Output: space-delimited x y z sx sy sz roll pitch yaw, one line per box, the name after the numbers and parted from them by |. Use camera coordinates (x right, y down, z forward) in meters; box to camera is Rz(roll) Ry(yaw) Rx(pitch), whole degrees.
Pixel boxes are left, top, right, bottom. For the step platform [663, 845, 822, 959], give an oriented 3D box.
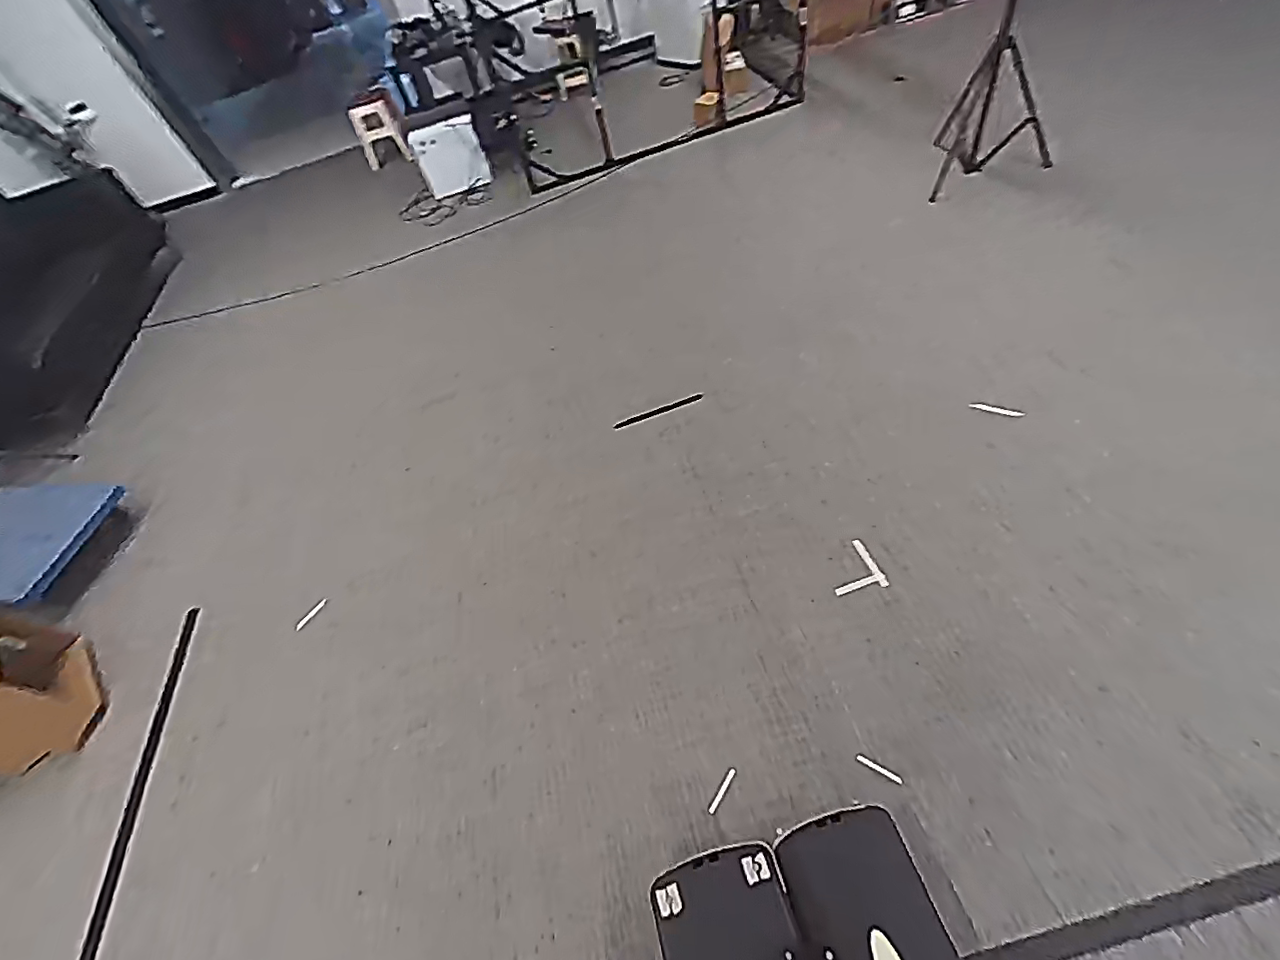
0.269 1.111 1.027 0.286 0.204 0.684 -19 50 -1 | step platform
